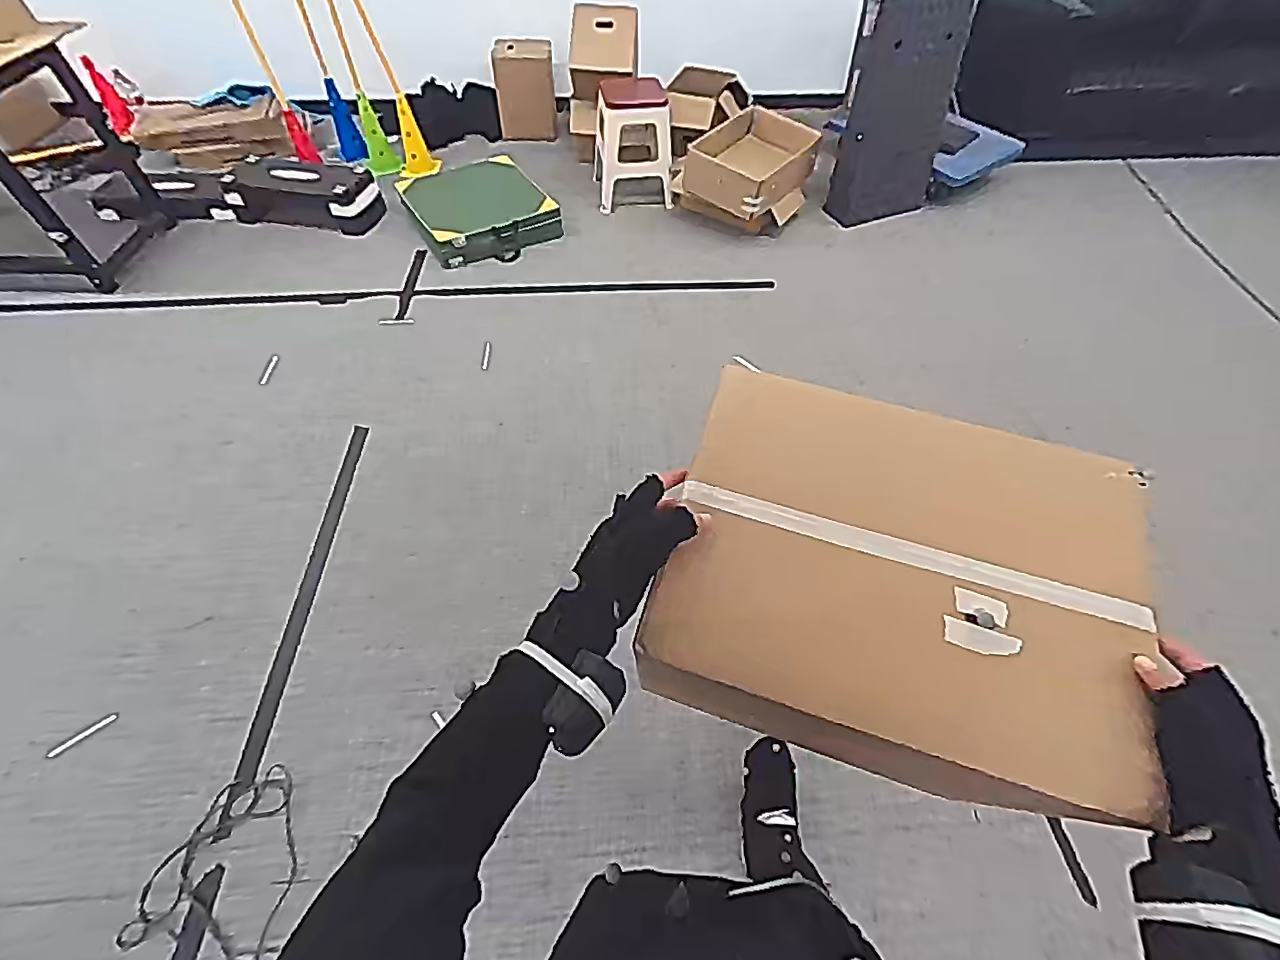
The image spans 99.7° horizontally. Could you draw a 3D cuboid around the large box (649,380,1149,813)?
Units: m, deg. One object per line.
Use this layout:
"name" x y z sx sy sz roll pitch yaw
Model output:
"large box" 0.241 0.136 0.630 0.408 0.320 0.320 16 66 9
